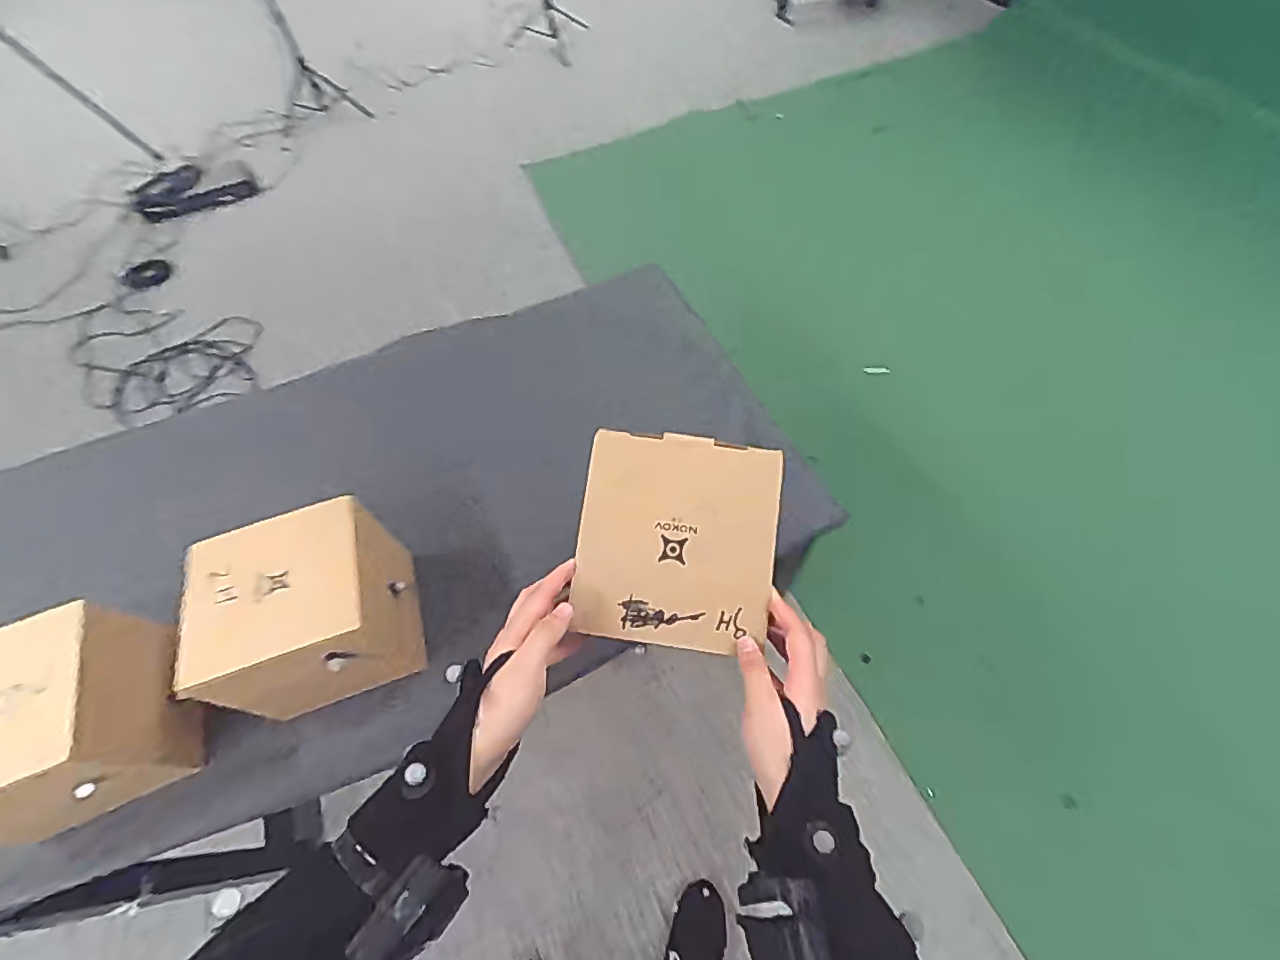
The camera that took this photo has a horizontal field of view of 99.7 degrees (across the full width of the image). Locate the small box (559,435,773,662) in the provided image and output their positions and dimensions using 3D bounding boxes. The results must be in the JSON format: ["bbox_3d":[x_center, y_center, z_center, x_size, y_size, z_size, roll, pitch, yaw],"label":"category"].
[{"bbox_3d":[0.028,0.069,0.532,0.168,0.176,0.179,6,79,5],"label":"small box"}]

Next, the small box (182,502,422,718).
[{"bbox_3d":[-0.369,0.155,0.626,0.179,0.176,0.168,-19,58,-7],"label":"small box"}]
